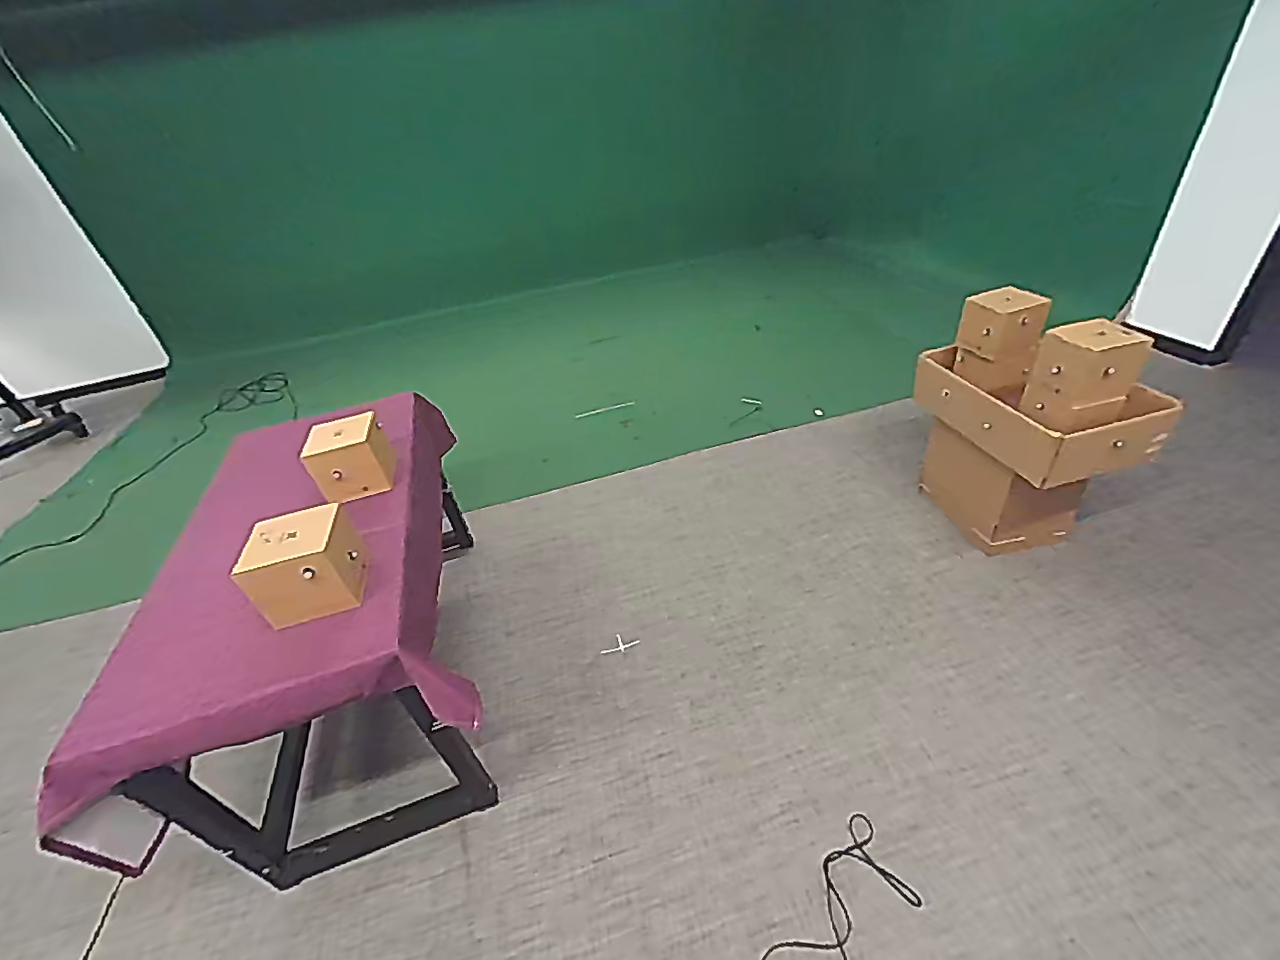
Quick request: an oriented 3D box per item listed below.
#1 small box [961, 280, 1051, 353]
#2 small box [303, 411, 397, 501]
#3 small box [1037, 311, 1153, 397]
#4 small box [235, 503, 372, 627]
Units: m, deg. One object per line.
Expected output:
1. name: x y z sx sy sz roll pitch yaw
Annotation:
1. small box: 1.193 -0.537 1.782 0.179 0.176 0.168 -17 38 -9
2. small box: -0.787 -0.061 1.490 0.168 0.176 0.179 -17 37 -8
3. small box: 1.264 -0.353 1.523 0.179 0.176 0.168 -13 38 -3
4. small box: -0.697 0.180 1.148 0.179 0.176 0.168 -16 37 -7
